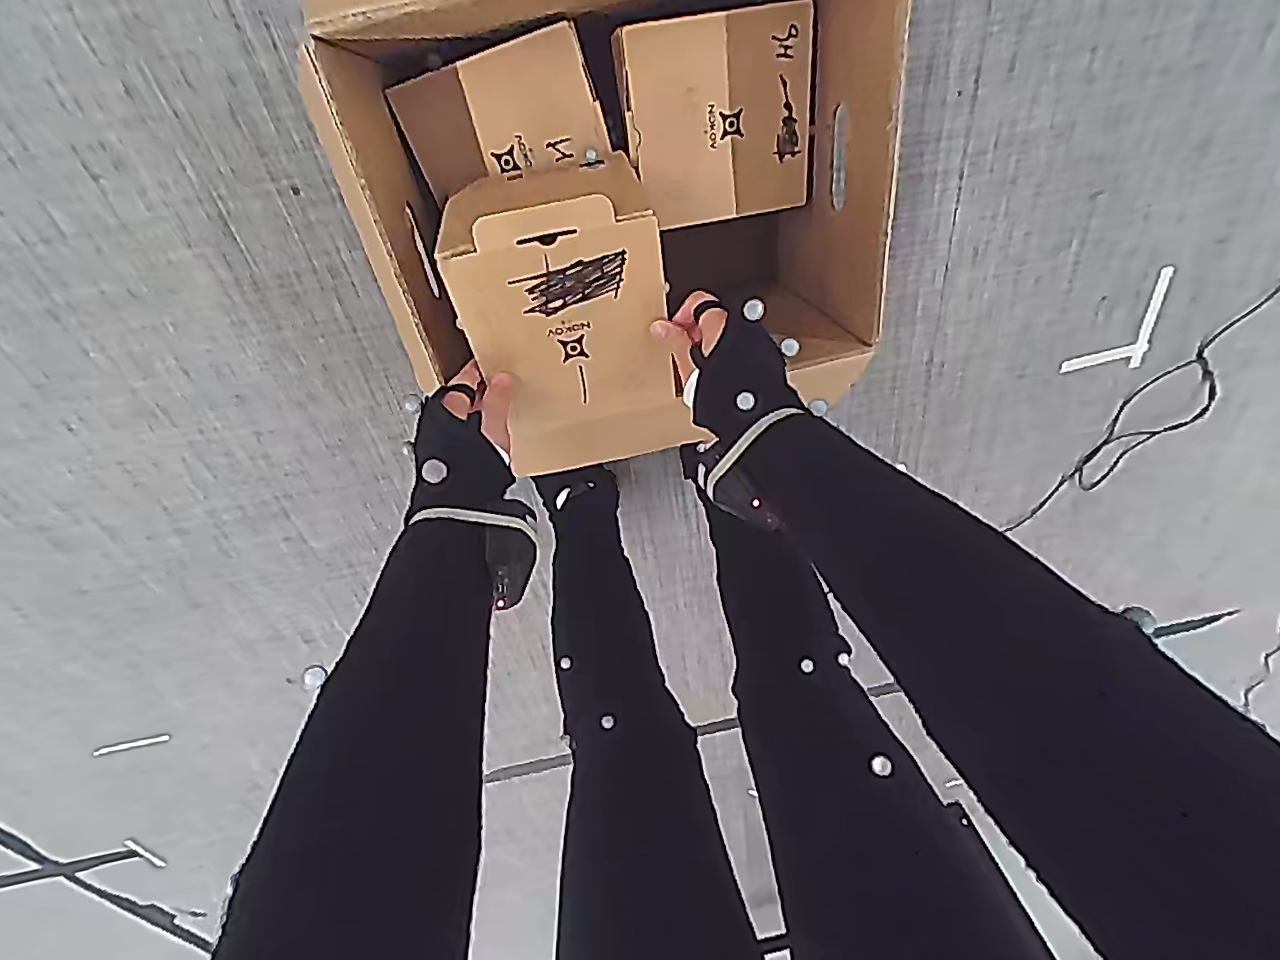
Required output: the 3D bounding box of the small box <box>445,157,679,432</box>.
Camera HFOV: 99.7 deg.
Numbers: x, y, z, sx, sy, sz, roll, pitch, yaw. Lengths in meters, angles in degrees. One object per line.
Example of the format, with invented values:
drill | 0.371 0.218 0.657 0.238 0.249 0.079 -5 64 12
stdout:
small box | -0.066 -0.176 0.499 0.168 0.176 0.179 -12 136 -2
